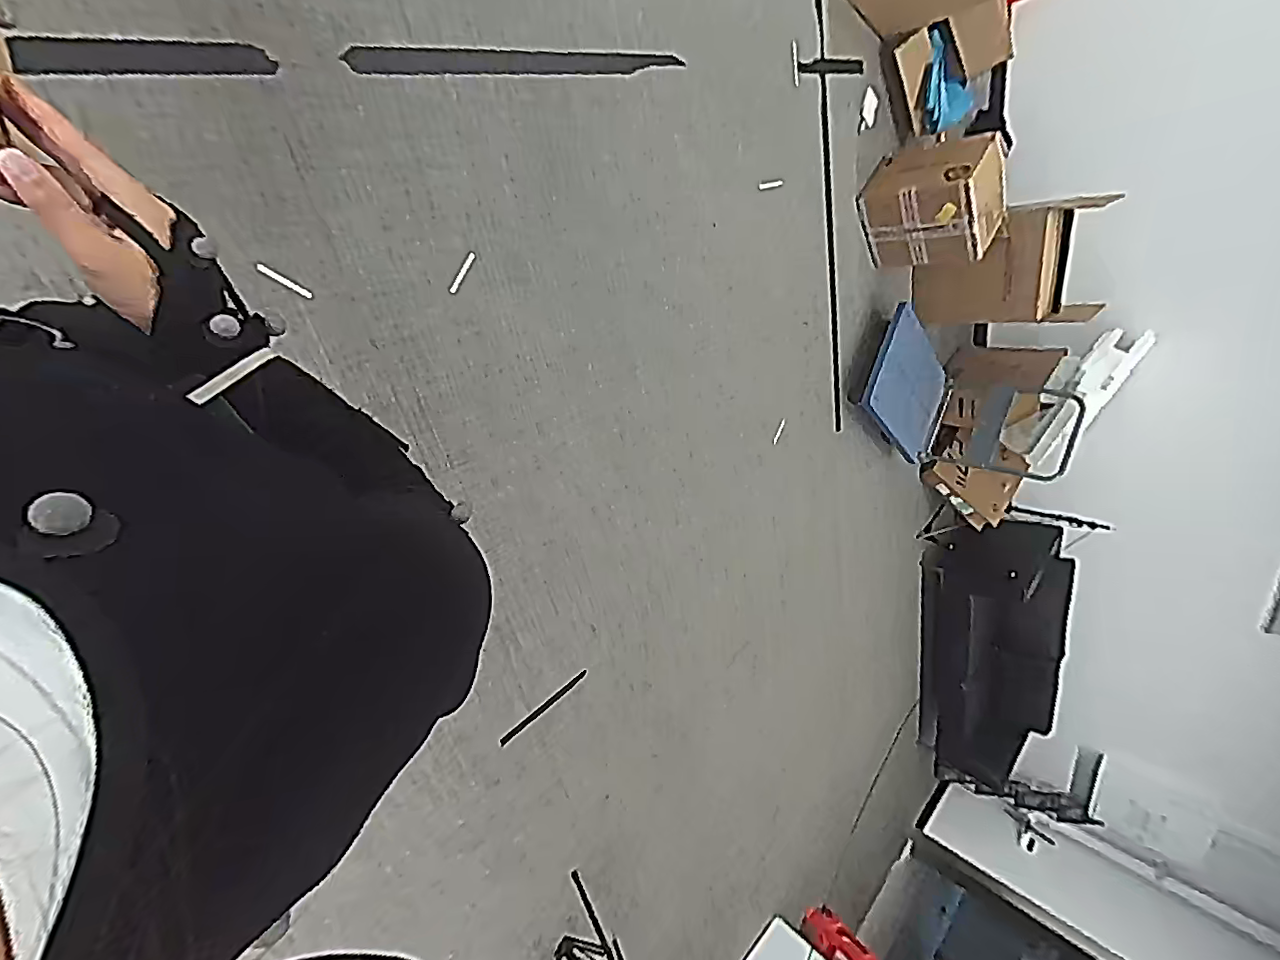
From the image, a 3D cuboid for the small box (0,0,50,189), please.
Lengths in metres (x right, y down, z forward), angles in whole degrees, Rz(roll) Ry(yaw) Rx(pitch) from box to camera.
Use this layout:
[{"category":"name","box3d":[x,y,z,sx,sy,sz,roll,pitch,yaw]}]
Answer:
[{"category":"small box","box3d":[-0.436,-0.261,0.263,0.168,0.176,0.179,-13,113,-38]}]
